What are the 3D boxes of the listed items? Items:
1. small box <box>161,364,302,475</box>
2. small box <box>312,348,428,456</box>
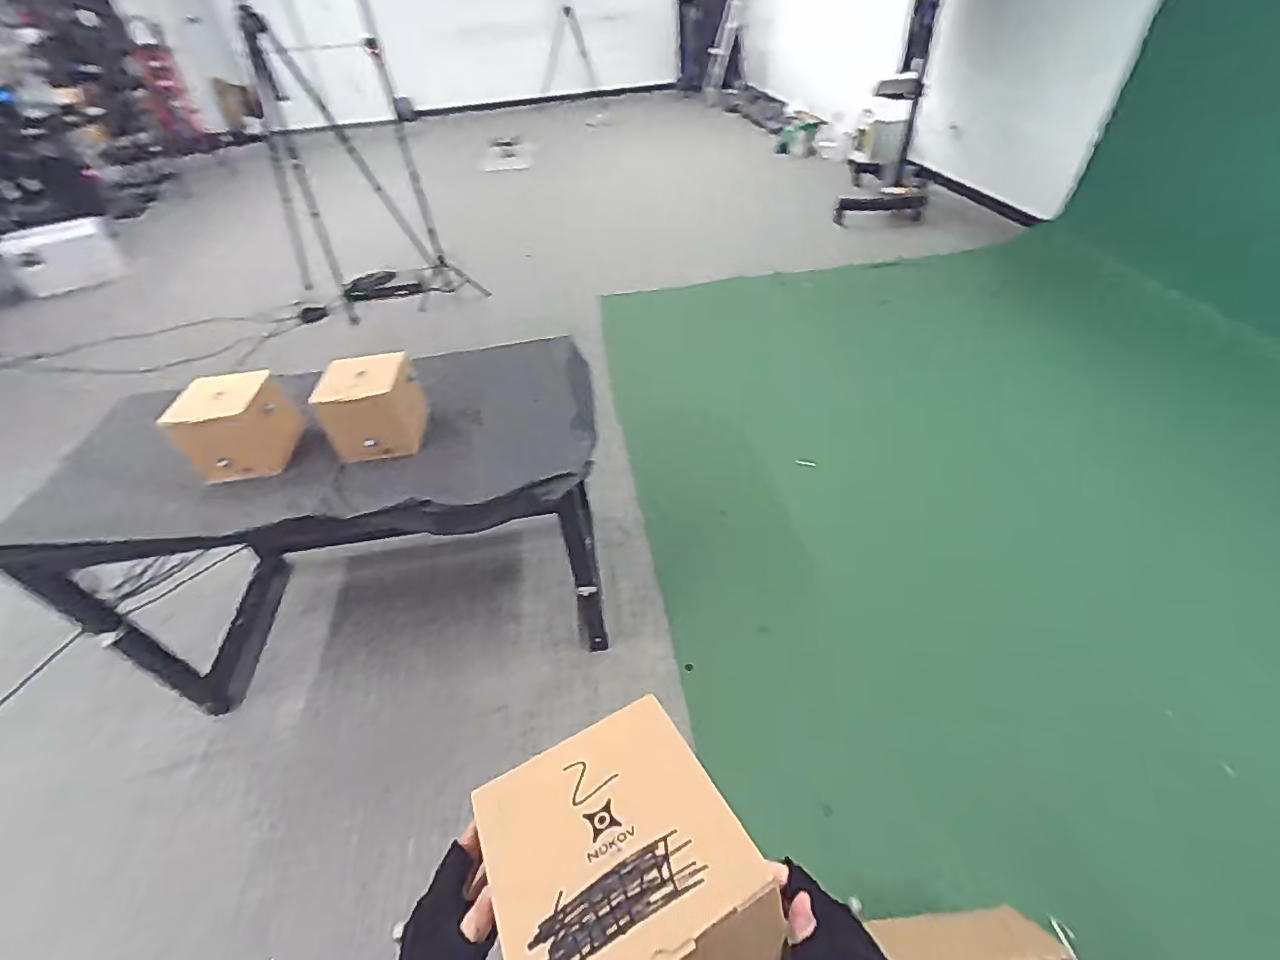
[{"bbox_3d":[-0.890,-0.134,1.202,0.168,0.176,0.179,-7,44,-4],"label":"small box"},{"bbox_3d":[-0.595,-0.176,1.221,0.168,0.176,0.179,-7,44,-3],"label":"small box"}]
